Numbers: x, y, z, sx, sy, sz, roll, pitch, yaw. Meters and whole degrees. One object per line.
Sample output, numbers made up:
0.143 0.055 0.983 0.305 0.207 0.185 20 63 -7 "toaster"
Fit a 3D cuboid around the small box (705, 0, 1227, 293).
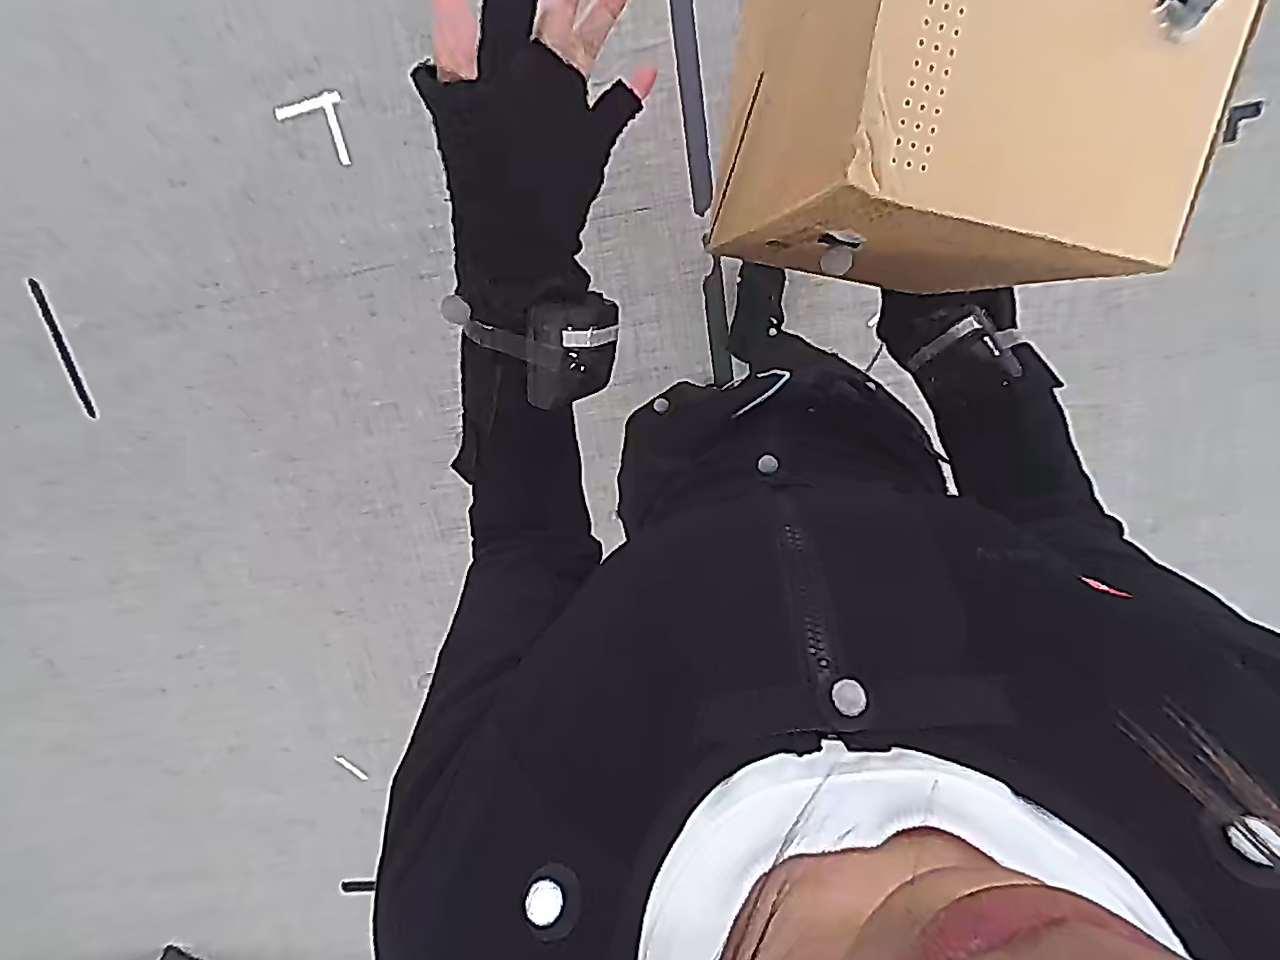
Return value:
0.147 -0.209 0.288 0.176 0.168 0.179 6 103 -12 "small box"
